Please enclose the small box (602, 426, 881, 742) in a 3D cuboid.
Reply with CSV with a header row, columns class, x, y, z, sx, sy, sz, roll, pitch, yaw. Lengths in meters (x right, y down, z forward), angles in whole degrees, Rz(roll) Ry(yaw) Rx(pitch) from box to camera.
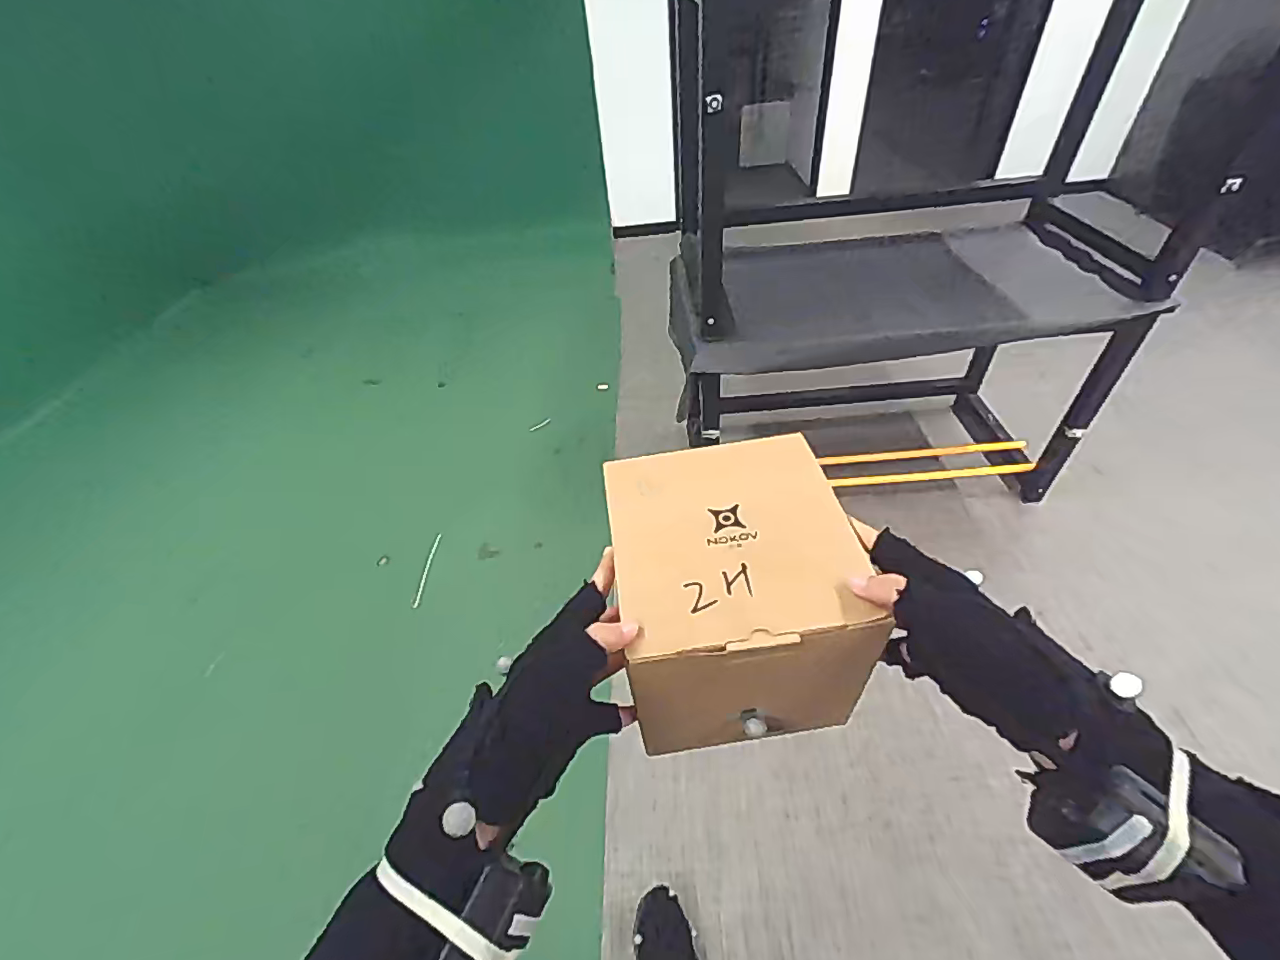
class,x,y,z,sx,sy,sz,roll,pitch,yaw
small box,0.063,0.083,0.437,0.168,0.176,0.179,-9,44,0
